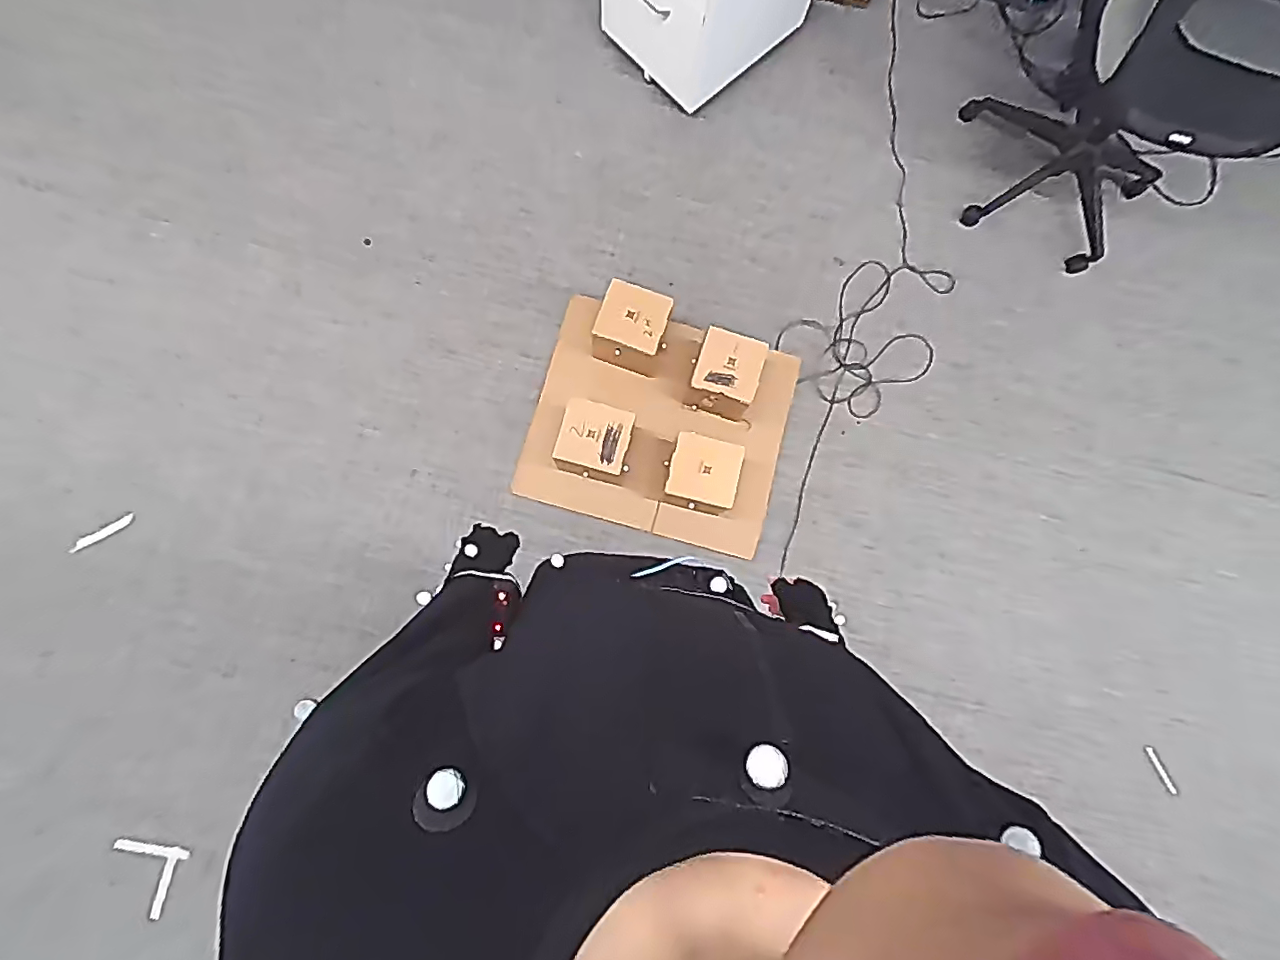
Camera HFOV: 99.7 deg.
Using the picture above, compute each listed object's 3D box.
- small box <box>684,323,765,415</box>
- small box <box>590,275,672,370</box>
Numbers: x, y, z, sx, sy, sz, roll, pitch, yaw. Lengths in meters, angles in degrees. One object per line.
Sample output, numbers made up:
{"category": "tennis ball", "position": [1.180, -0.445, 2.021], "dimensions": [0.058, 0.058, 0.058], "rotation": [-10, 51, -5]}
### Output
{"category": "small box", "position": [0.223, -0.296, 1.484], "dimensions": [0.168, 0.176, 0.179], "rotation": [18, 81, 1]}
{"category": "small box", "position": [-0.027, -0.422, 1.483], "dimensions": [0.179, 0.176, 0.168], "rotation": [20, 82, -1]}
